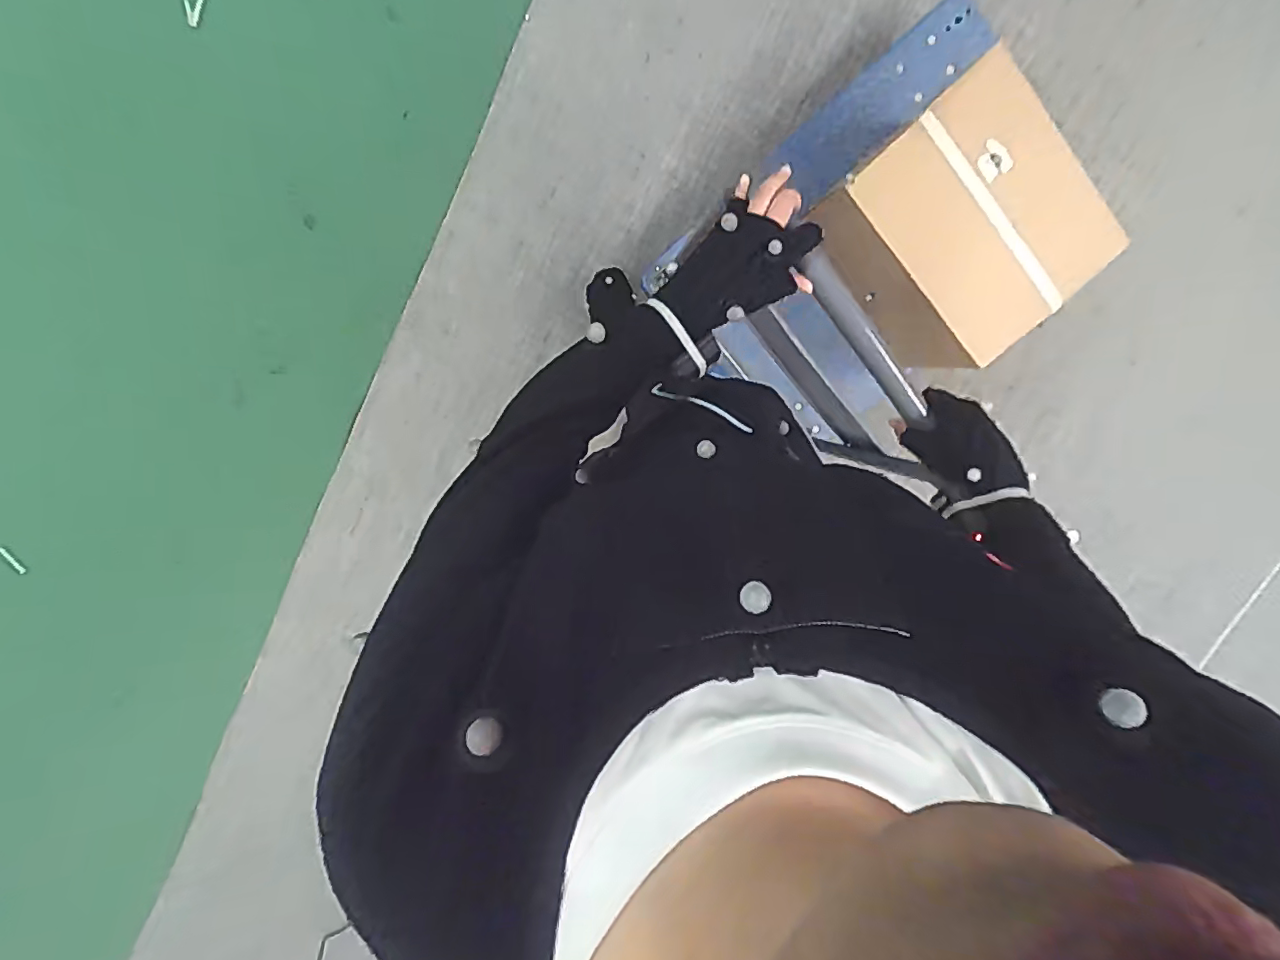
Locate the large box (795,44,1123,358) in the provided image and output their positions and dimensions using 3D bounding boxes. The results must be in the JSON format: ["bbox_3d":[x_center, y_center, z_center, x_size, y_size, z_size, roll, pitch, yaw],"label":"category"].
[{"bbox_3d":[0.581,-0.489,1.058,0.320,0.320,0.408,-42,99,8],"label":"large box"}]
